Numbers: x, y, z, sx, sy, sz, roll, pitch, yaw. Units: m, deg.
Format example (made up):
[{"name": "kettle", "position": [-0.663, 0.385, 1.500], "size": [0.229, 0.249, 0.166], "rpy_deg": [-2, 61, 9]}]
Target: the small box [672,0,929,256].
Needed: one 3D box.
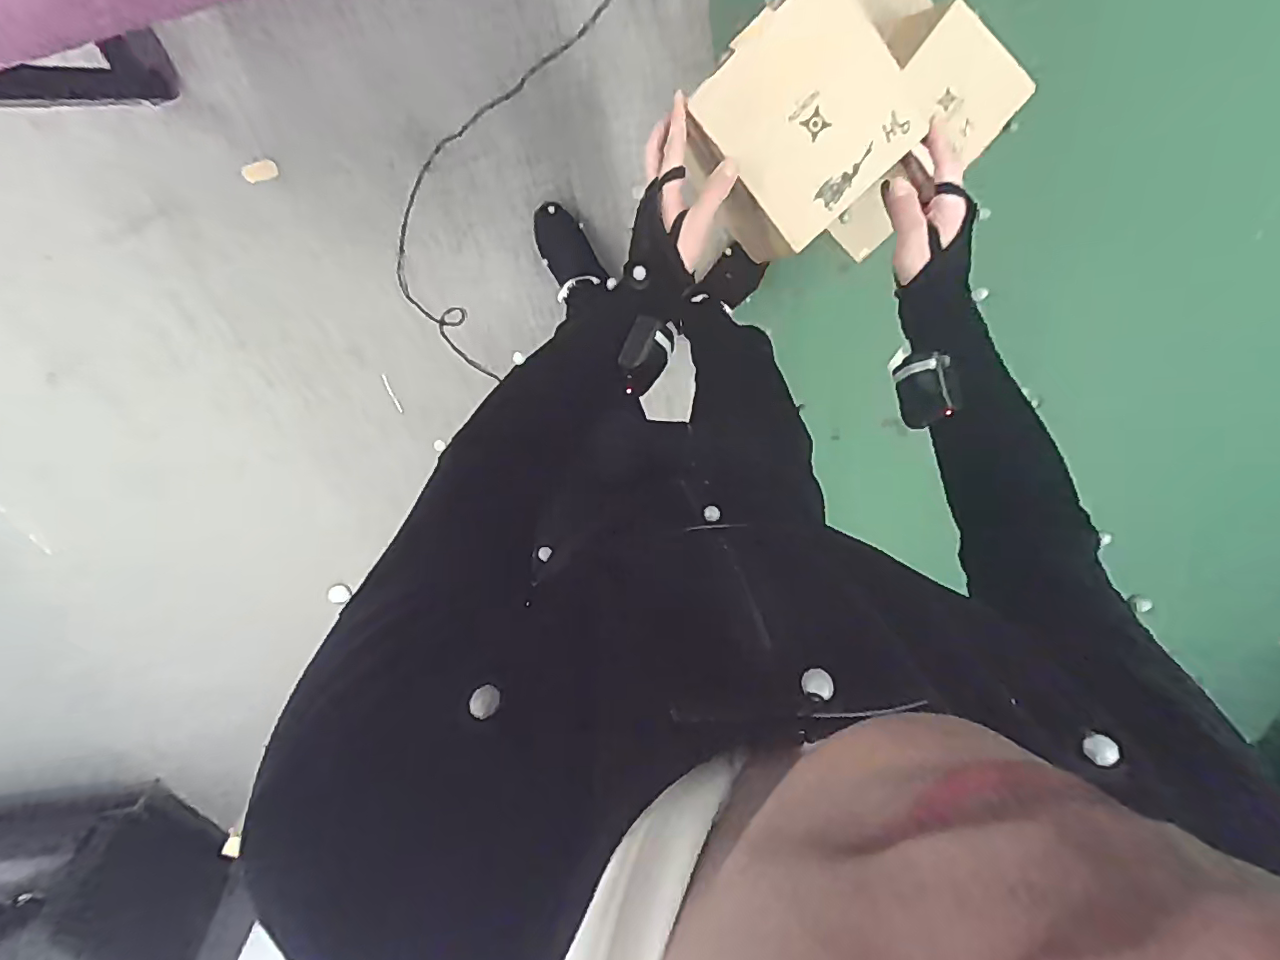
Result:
[{"name": "small box", "position": [0.149, -0.361, 0.569], "size": [0.168, 0.176, 0.179], "rpy_deg": [-42, 104, 11]}]

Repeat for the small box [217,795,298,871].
[{"name": "small box", "position": [-1.369, 1.267, 1.946], "size": [0.168, 0.176, 0.179], "rpy_deg": [29, 121, -18]}]

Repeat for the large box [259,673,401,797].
[{"name": "large box", "position": [-1.321, 1.093, 2.323], "size": [0.408, 0.320, 0.320], "rpy_deg": [27, 122, -18]}]

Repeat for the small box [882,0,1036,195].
[{"name": "small box", "position": [0.441, -0.575, 0.834], "size": [0.179, 0.176, 0.168], "rpy_deg": [30, 119, -18]}]
